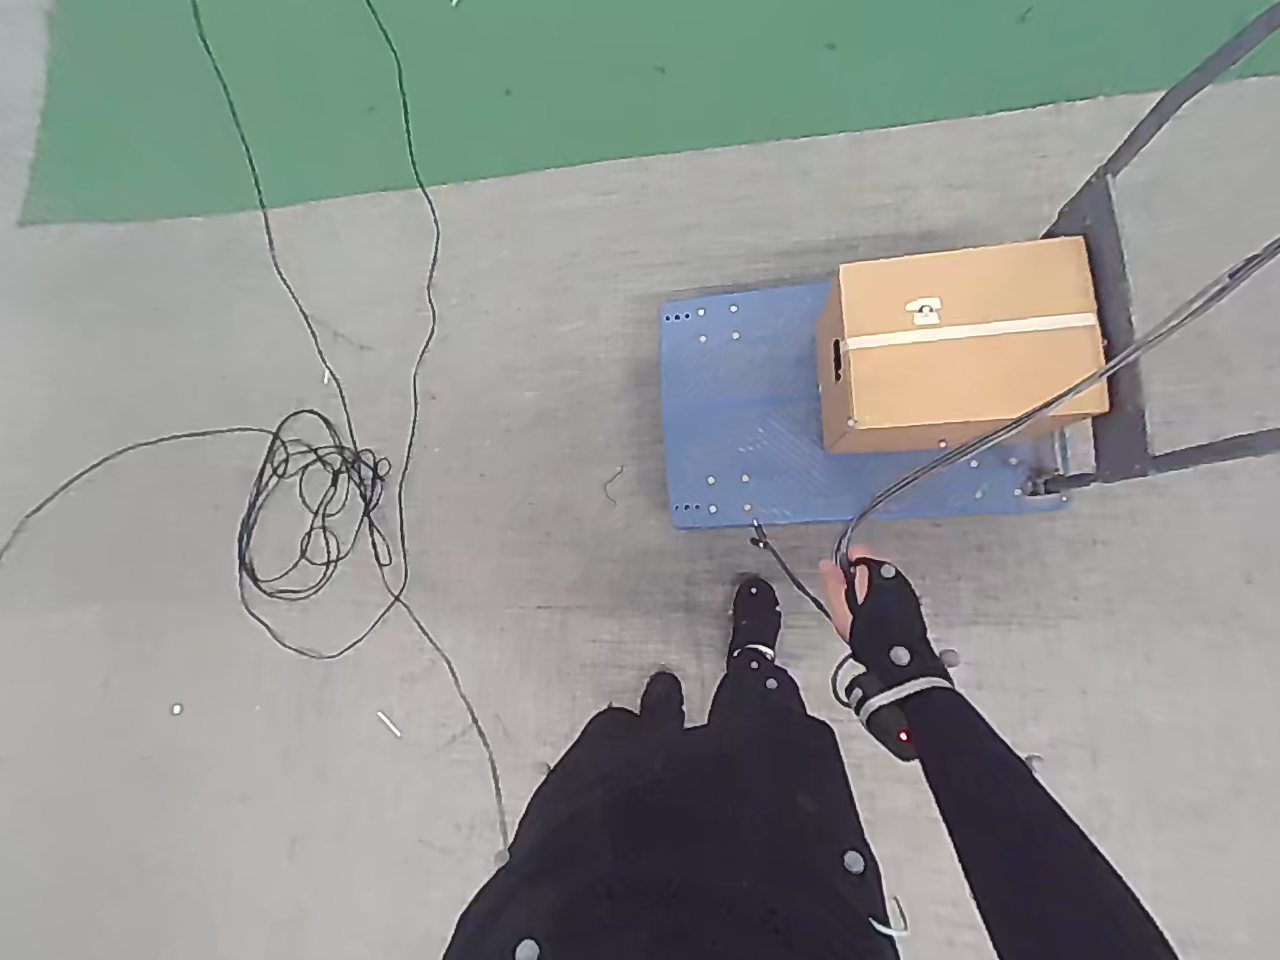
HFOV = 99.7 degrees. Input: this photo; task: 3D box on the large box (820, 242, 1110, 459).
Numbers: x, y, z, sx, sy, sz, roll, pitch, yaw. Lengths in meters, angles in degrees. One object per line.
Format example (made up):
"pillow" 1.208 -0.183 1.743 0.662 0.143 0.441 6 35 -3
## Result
"large box" 0.596 -0.224 1.078 0.408 0.320 0.320 -3 82 11
